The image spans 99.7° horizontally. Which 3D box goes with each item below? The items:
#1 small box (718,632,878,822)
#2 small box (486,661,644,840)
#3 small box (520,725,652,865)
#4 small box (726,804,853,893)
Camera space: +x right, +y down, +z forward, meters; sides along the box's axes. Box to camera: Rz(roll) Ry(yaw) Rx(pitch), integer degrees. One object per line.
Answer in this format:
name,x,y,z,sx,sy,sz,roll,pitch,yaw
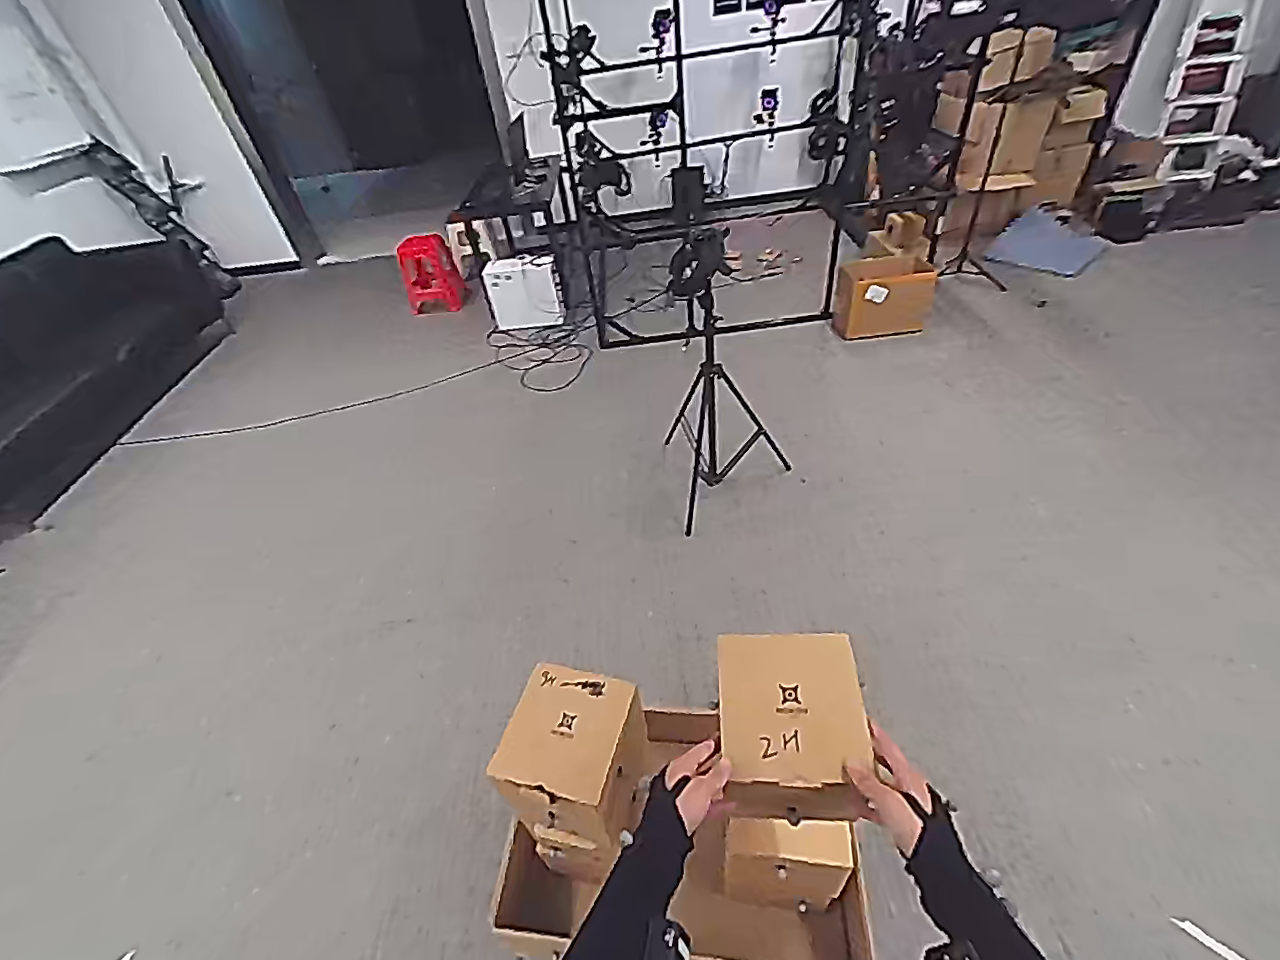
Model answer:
small box,0.184,0.312,0.687,0.168,0.176,0.179,-3,47,8
small box,-0.099,0.410,0.818,0.168,0.176,0.179,7,44,17
small box,-0.081,0.528,0.931,0.168,0.176,0.179,4,42,15
small box,0.230,0.538,0.869,0.179,0.176,0.168,0,41,11
